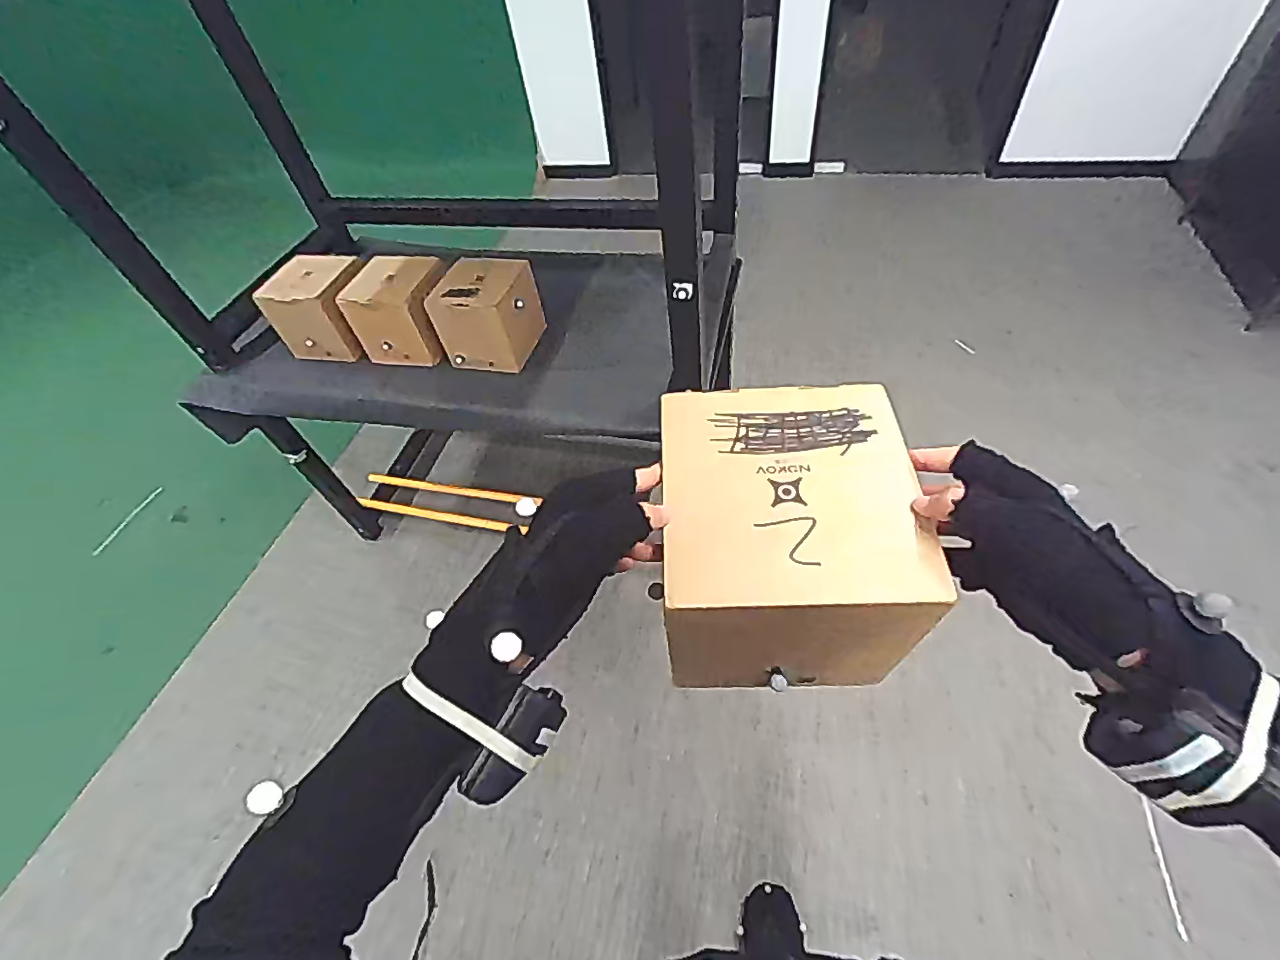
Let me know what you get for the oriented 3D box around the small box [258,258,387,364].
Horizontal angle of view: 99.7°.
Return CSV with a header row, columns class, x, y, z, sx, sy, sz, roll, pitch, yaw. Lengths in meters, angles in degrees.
class,x,y,z,sx,sy,sz,roll,pitch,yaw
small box,-0.727,-0.397,1.267,0.168,0.176,0.179,6,52,12
